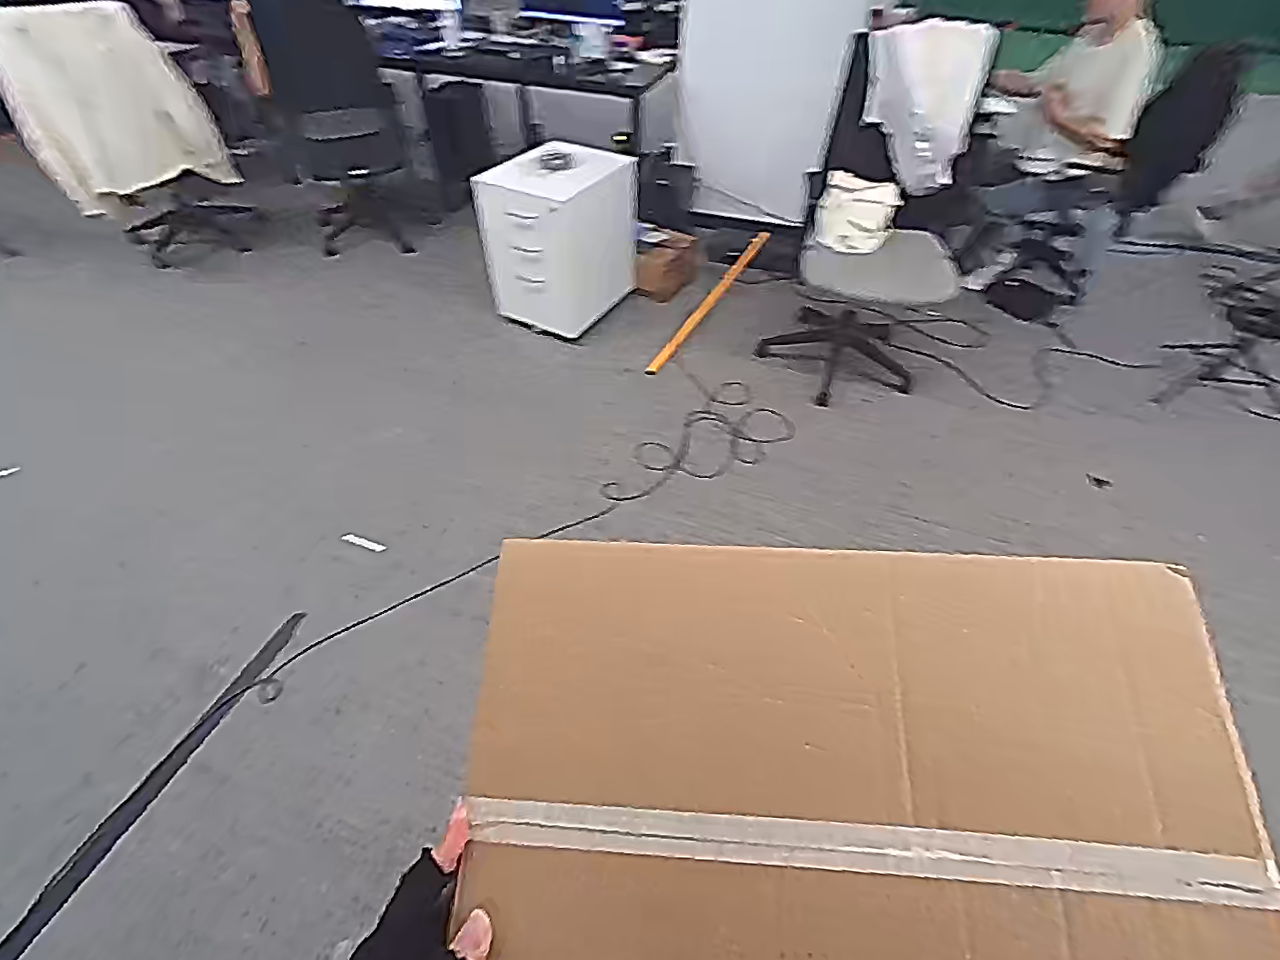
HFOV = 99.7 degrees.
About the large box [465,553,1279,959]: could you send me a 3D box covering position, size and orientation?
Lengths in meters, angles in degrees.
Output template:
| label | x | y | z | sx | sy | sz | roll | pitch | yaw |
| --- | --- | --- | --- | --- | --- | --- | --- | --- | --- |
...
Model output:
| label | x | y | z | sx | sy | sz | roll | pitch | yaw |
| --- | --- | --- | --- | --- | --- | --- | --- | --- | --- |
| large box | 0.118 | 0.246 | 0.427 | 0.408 | 0.320 | 0.320 | 1 | 70 | 6 |
